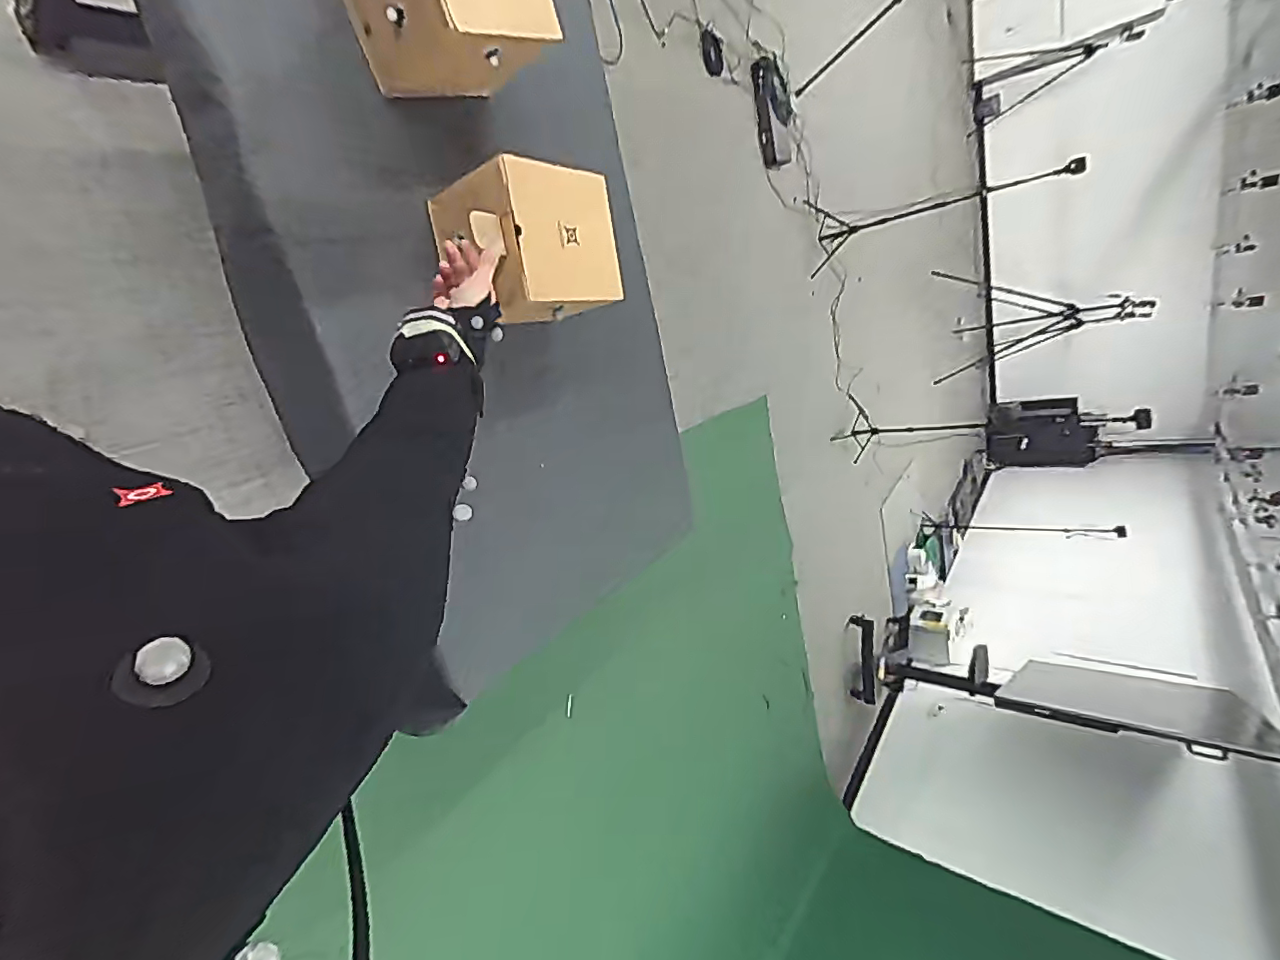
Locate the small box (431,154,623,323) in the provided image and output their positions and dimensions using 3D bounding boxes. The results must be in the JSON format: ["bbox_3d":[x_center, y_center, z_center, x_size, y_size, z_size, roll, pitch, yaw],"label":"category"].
[{"bbox_3d":[-0.150,-0.312,0.734,0.179,0.176,0.168,-23,109,-47],"label":"small box"}]

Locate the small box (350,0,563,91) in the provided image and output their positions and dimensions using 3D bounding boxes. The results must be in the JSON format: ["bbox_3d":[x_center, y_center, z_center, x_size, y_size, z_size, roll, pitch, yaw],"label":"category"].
[{"bbox_3d":[-0.229,-0.582,0.633,0.179,0.176,0.168,-42,123,-43],"label":"small box"}]
